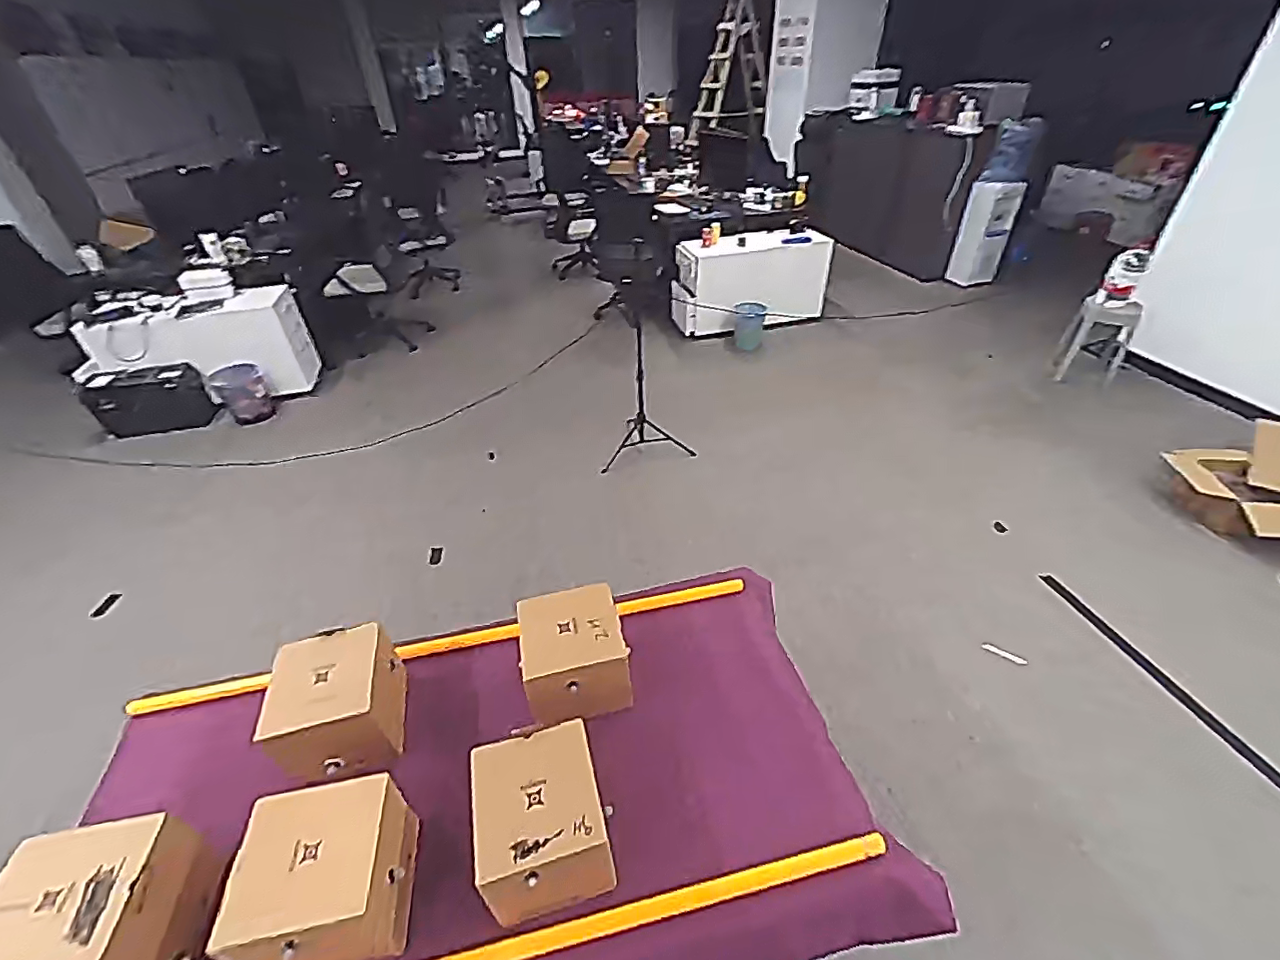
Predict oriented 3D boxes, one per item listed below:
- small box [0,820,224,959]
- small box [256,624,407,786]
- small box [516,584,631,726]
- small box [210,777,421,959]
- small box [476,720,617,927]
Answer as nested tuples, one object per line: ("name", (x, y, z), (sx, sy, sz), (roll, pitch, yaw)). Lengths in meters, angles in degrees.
("small box", (-0.691, 0.572, 0.695), (0.179, 0.176, 0.168), (-7, 38, -6))
("small box", (-0.512, 0.384, 0.929), (0.168, 0.176, 0.179), (-12, 40, -11))
("small box", (-0.119, 0.321, 0.986), (0.179, 0.176, 0.168), (-10, 40, -9))
("small box", (-0.412, 0.537, 0.729), (0.179, 0.176, 0.168), (-9, 38, -7))
("small box", (-0.134, 0.487, 0.774), (0.168, 0.176, 0.179), (-12, 37, -11))
